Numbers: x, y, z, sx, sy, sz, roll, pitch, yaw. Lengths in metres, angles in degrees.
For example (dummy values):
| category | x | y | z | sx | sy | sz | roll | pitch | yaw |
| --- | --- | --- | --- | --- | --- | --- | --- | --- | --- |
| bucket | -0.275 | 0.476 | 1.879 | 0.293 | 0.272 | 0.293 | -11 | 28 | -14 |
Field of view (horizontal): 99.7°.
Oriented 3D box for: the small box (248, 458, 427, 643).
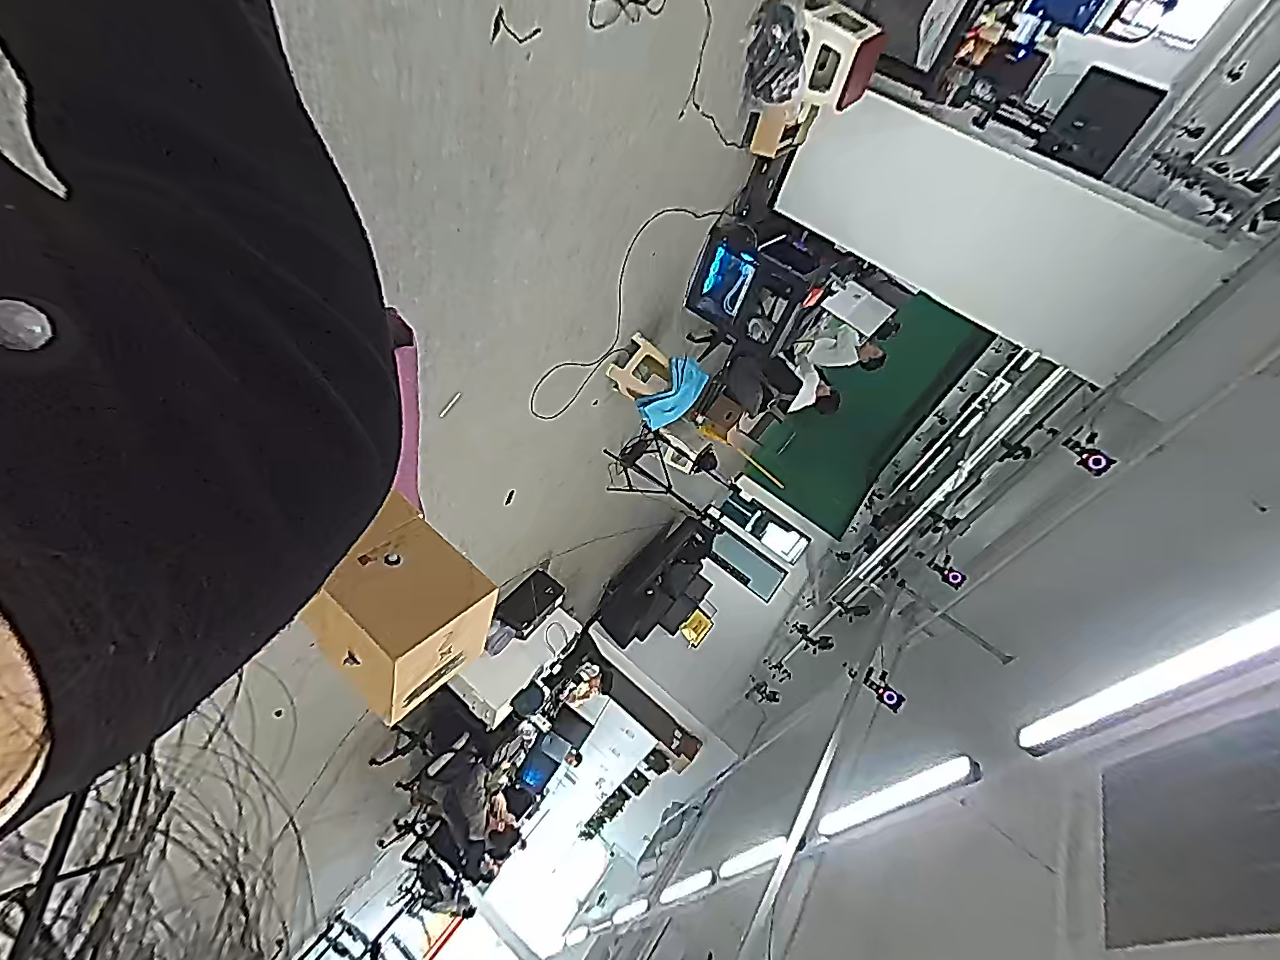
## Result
| category | x | y | z | sx | sy | sz | roll | pitch | yaw |
| --- | --- | --- | --- | --- | --- | --- | --- | --- | --- |
| small box | -0.447 | 0.099 | 0.811 | 0.168 | 0.176 | 0.179 | -37 | 157 | -46 |
